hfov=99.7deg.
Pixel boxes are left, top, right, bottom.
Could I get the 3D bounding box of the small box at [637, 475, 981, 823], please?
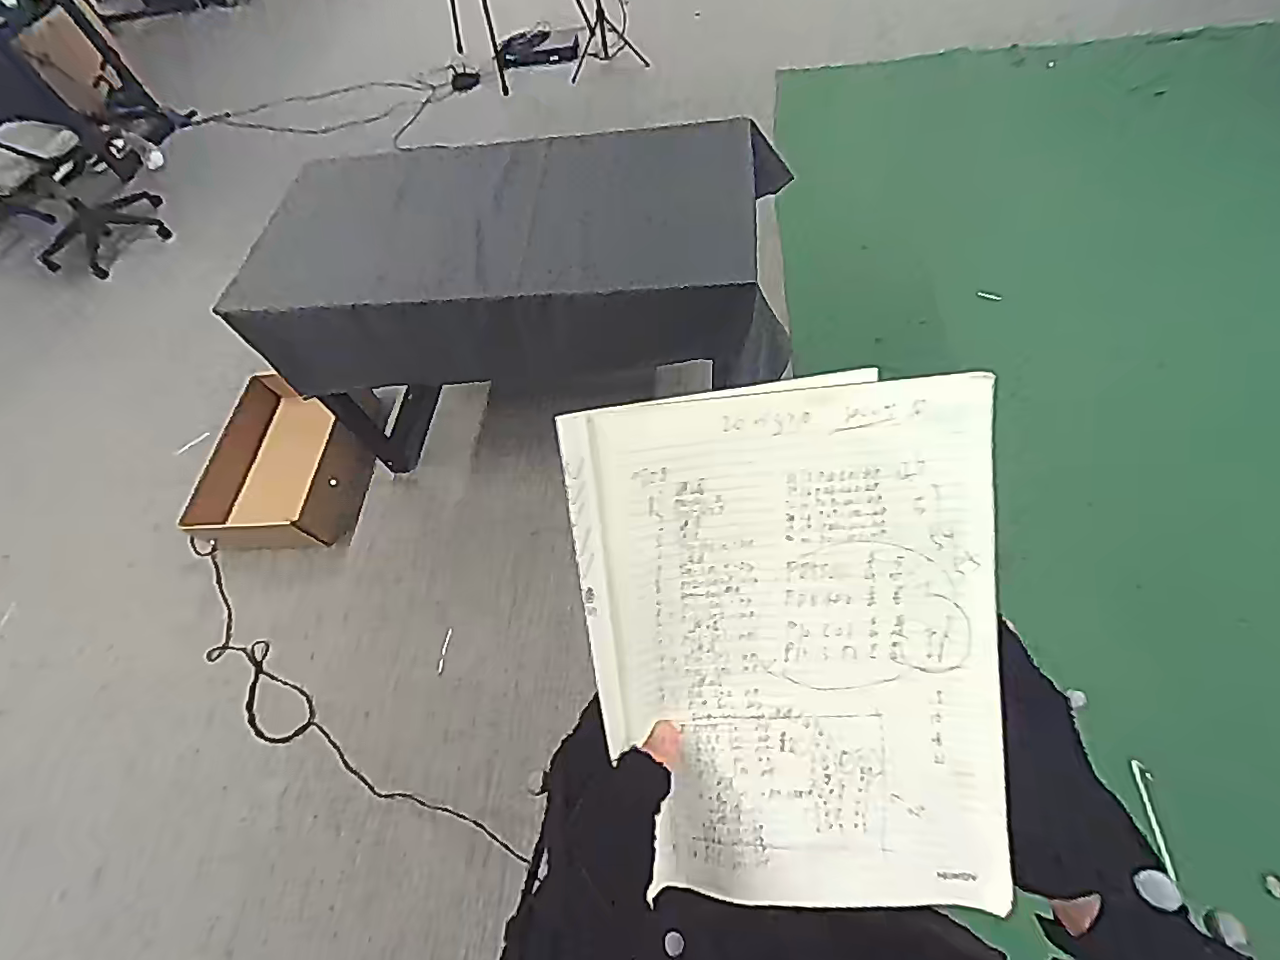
[{"bbox_3d":[0.099,0.112,0.393,0.168,0.176,0.179,-12,76,4],"label":"small box"}]
